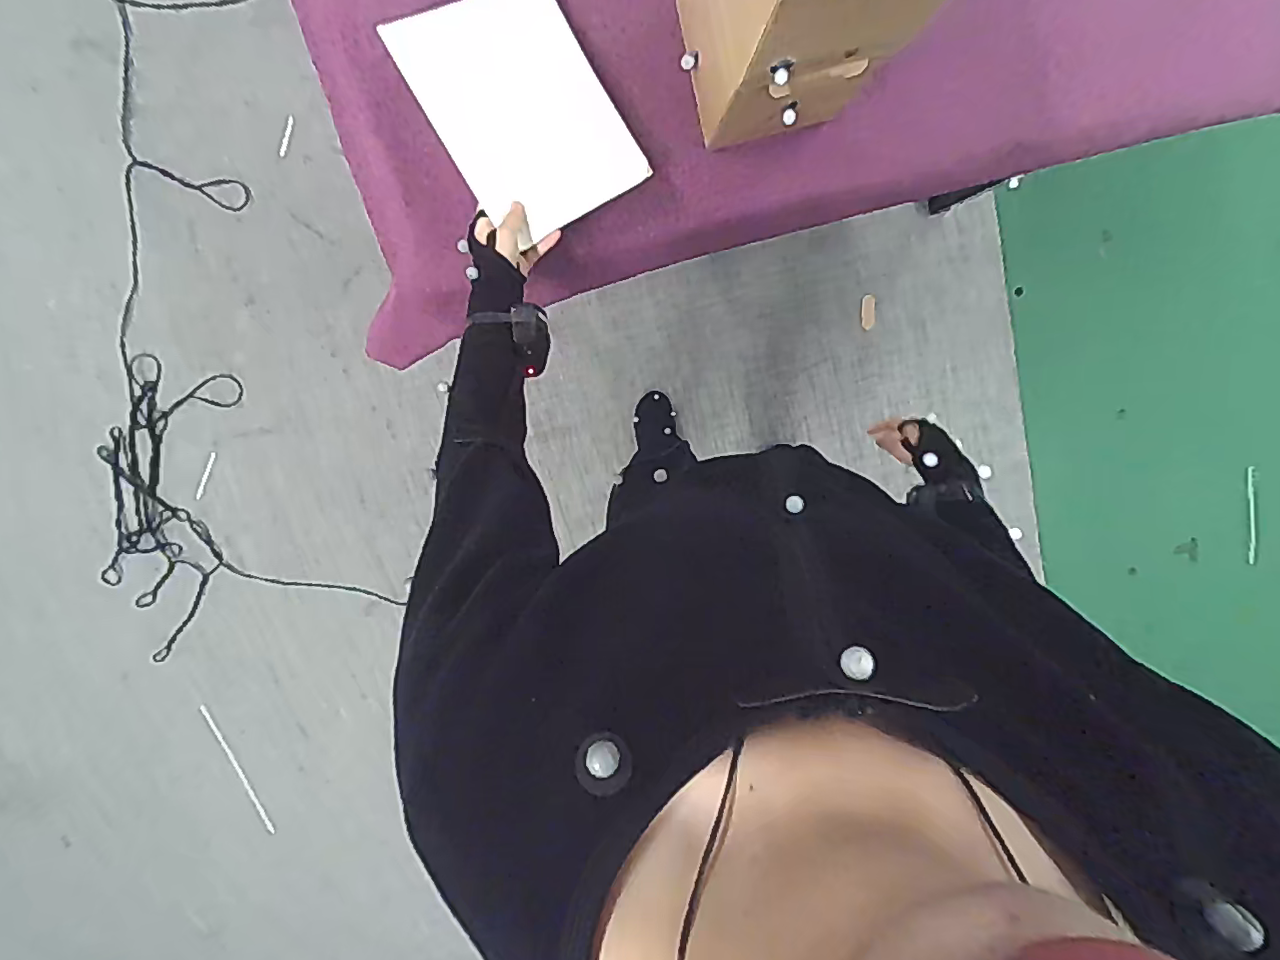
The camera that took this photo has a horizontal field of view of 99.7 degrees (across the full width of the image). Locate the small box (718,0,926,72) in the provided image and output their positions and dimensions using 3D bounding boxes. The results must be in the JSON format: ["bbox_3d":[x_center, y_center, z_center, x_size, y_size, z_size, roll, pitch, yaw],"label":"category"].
[{"bbox_3d":[0.155,-0.468,0.432,0.168,0.176,0.179,-15,101,0],"label":"small box"}]

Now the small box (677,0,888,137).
[{"bbox_3d":[0.145,-0.507,0.592,0.168,0.176,0.179,-15,102,0],"label":"small box"}]
